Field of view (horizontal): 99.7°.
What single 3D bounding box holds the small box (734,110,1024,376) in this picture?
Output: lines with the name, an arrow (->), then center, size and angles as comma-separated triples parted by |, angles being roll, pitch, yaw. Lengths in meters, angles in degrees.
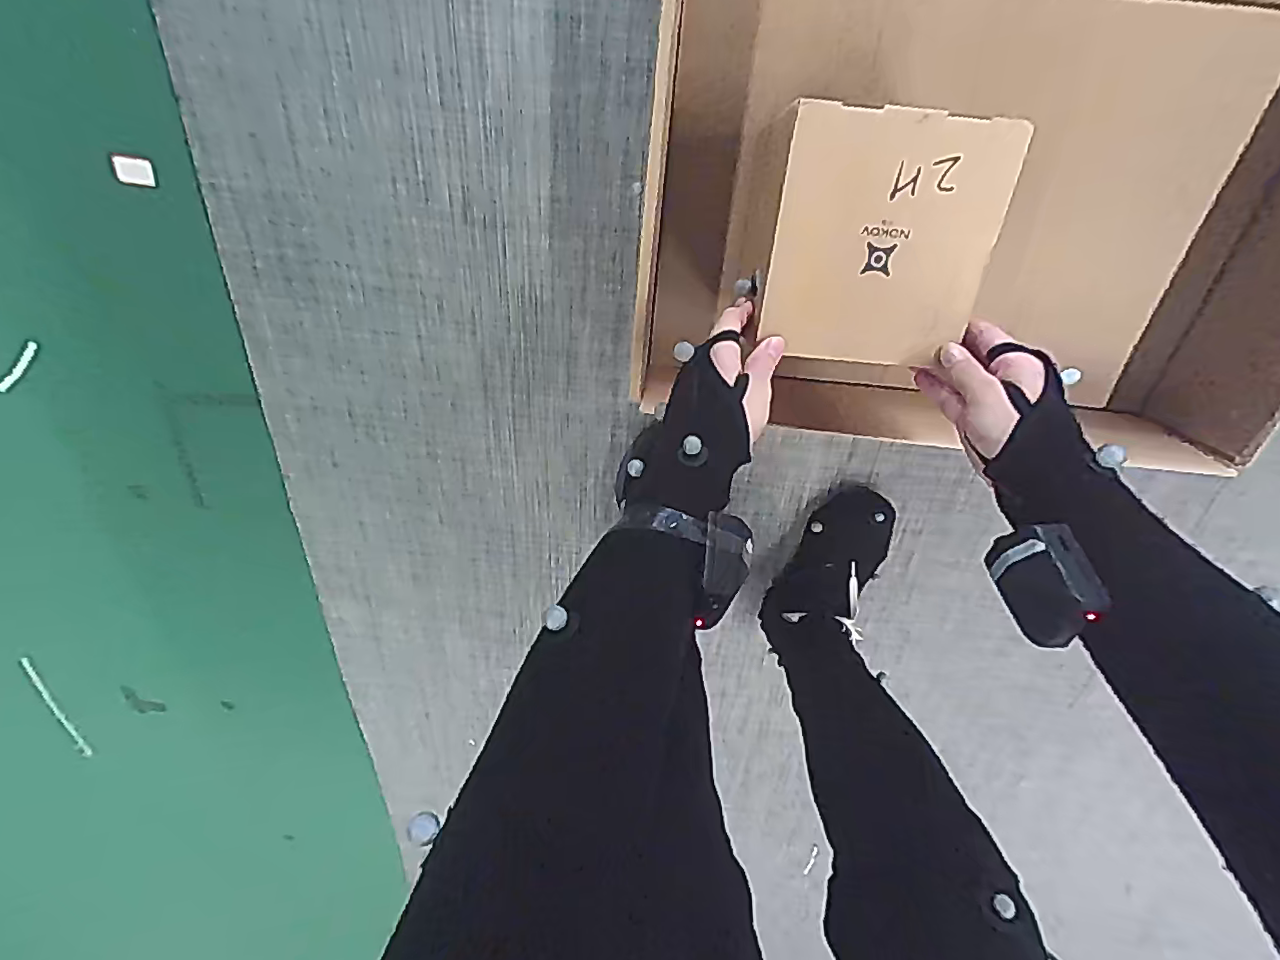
small box -> 0.186, -0.209, 0.490 | 0.168, 0.176, 0.179 | 6, 116, -2
